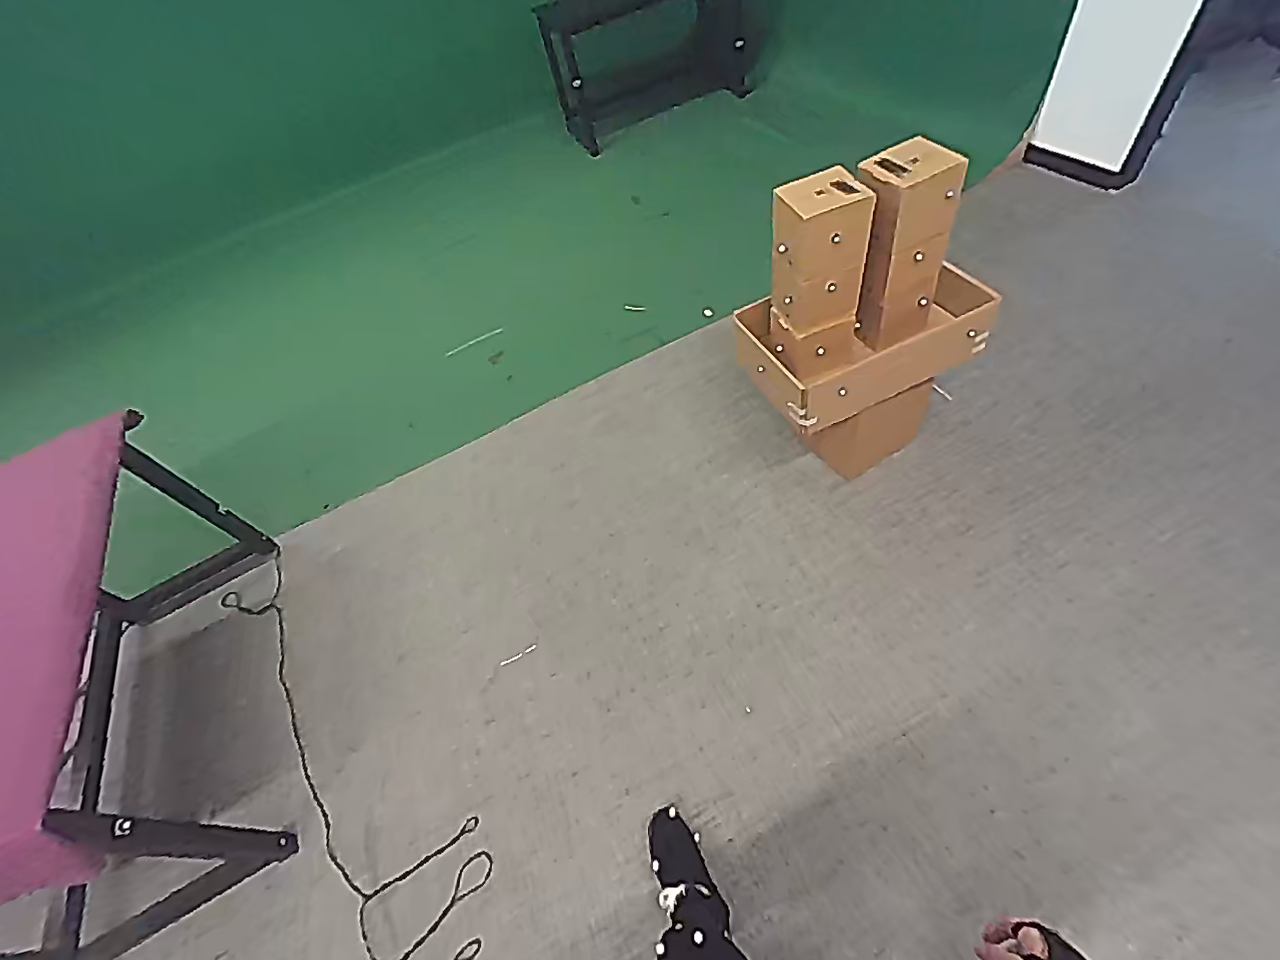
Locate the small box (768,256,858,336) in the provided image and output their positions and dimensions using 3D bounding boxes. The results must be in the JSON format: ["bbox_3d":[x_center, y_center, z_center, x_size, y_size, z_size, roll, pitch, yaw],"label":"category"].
[{"bbox_3d":[0.460,-0.519,1.463,0.179,0.176,0.168,-19,53,-3],"label":"small box"}]

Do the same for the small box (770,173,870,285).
[{"bbox_3d":[0.432,-0.615,1.333,0.179,0.176,0.168,-20,53,-2],"label":"small box"}]

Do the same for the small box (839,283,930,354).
[{"bbox_3d":[0.714,-0.509,1.602,0.179,0.176,0.168,-26,52,-5],"label":"small box"}]

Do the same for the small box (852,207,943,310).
[{"bbox_3d":[0.679,-0.600,1.475,0.179,0.176,0.168,-27,53,-4],"label":"small box"}]
